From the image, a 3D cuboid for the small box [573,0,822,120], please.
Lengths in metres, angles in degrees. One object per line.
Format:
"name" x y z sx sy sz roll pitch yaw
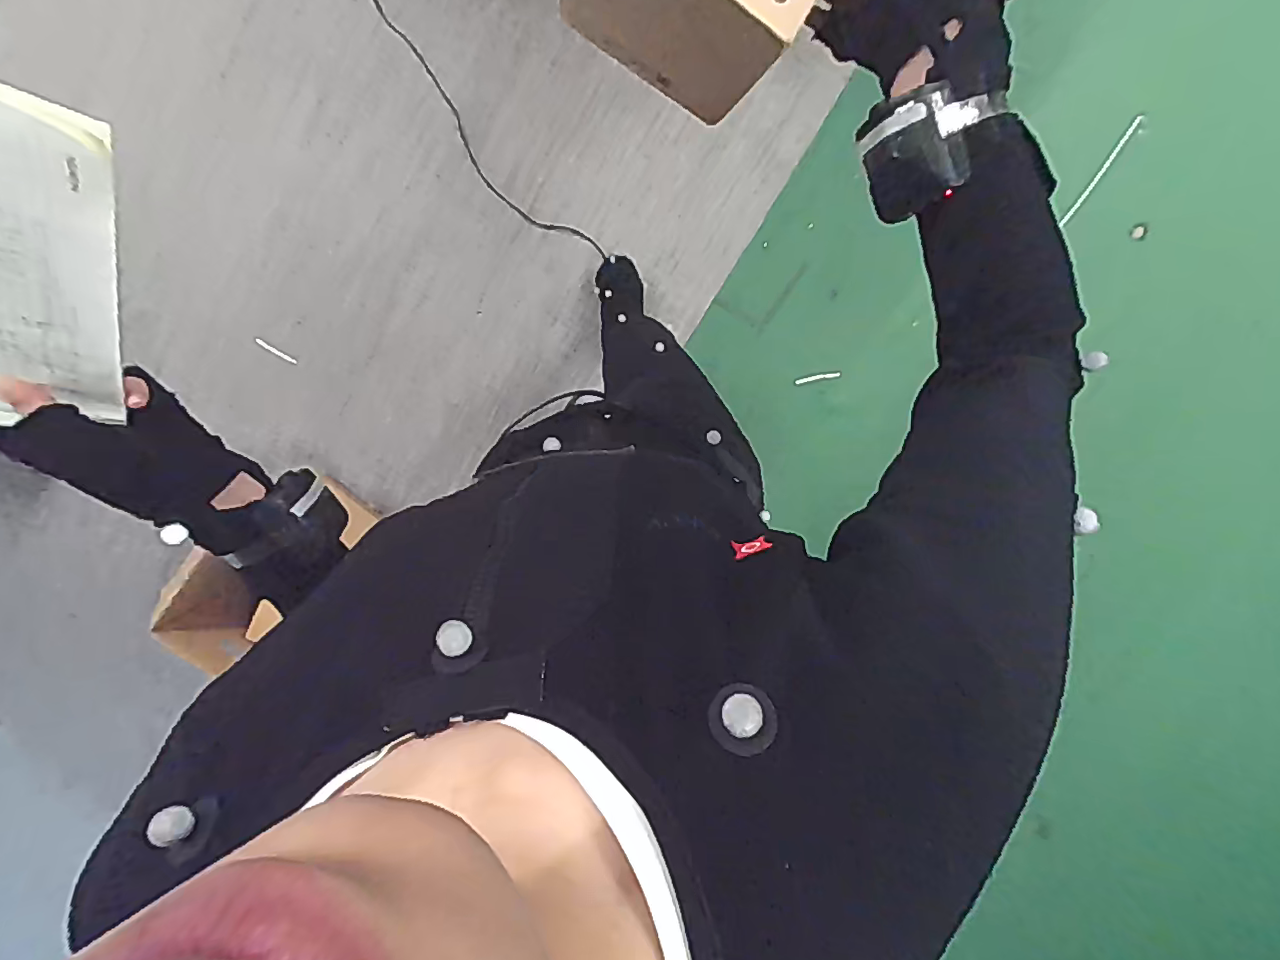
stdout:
"small box" 0.060 -0.417 0.395 0.168 0.176 0.179 26 99 -17
